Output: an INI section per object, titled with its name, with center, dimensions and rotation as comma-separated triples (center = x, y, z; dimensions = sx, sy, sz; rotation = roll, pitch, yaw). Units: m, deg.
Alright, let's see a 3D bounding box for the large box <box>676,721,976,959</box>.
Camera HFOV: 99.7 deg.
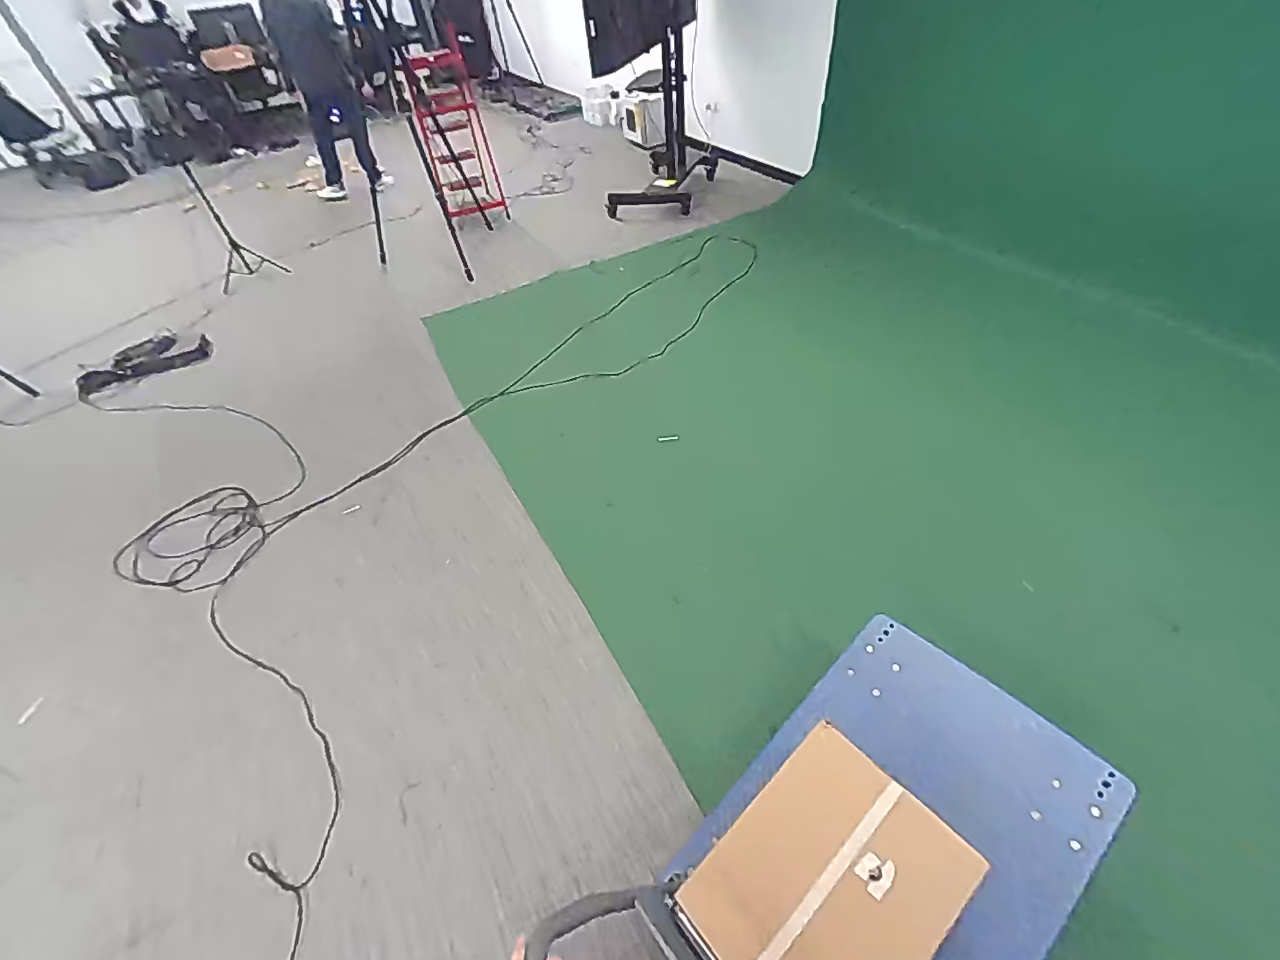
[large box]
center = 0.331, 0.748, 0.995
dimensions = 0.408, 0.320, 0.320
rotation = -41, 52, -17
